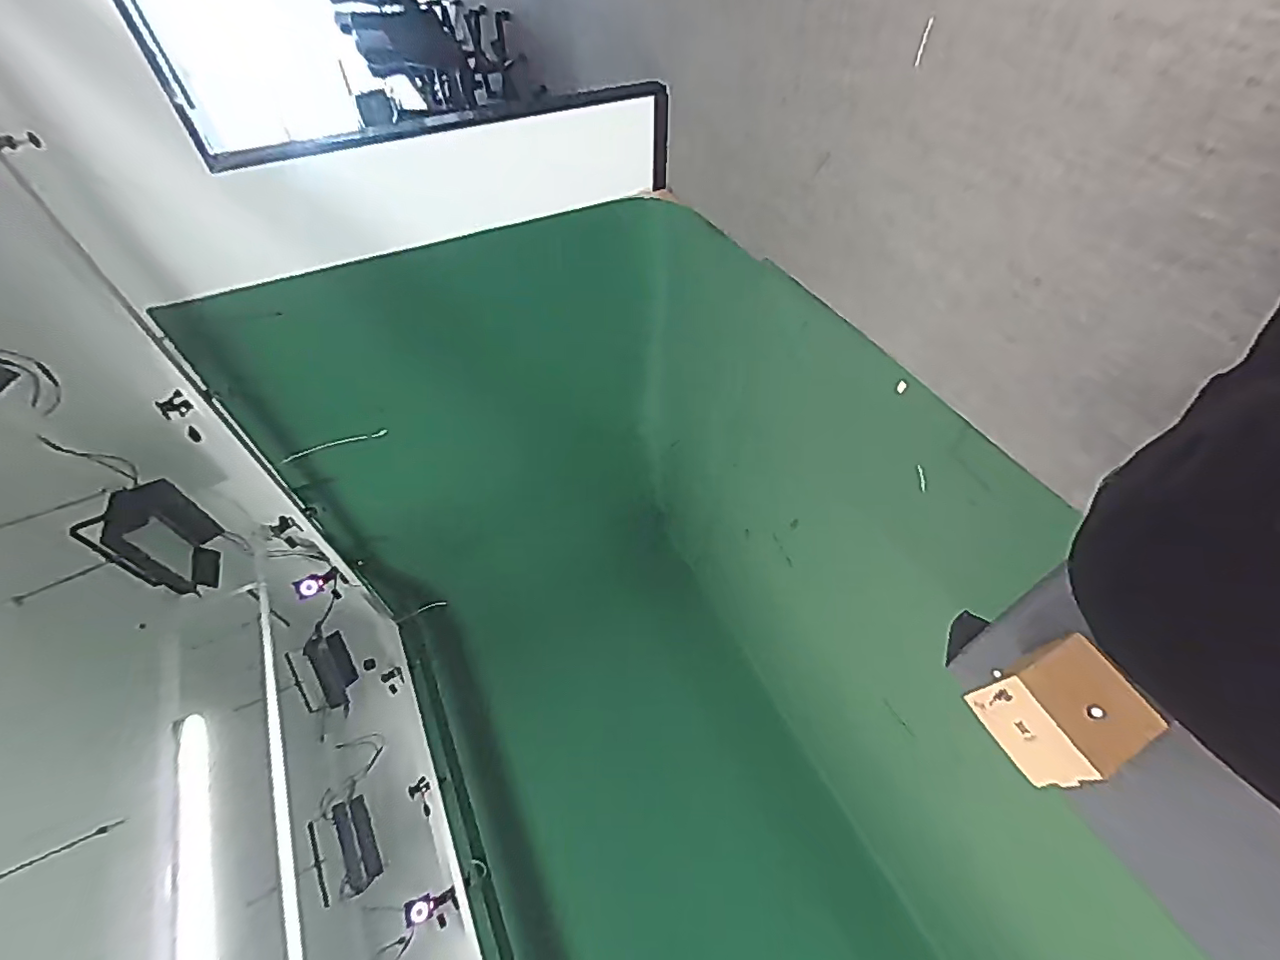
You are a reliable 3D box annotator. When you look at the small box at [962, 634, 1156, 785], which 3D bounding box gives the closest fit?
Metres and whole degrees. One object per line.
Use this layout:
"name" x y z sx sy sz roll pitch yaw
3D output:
"small box" 0.734 0.405 0.957 0.179 0.176 0.168 58 160 28
